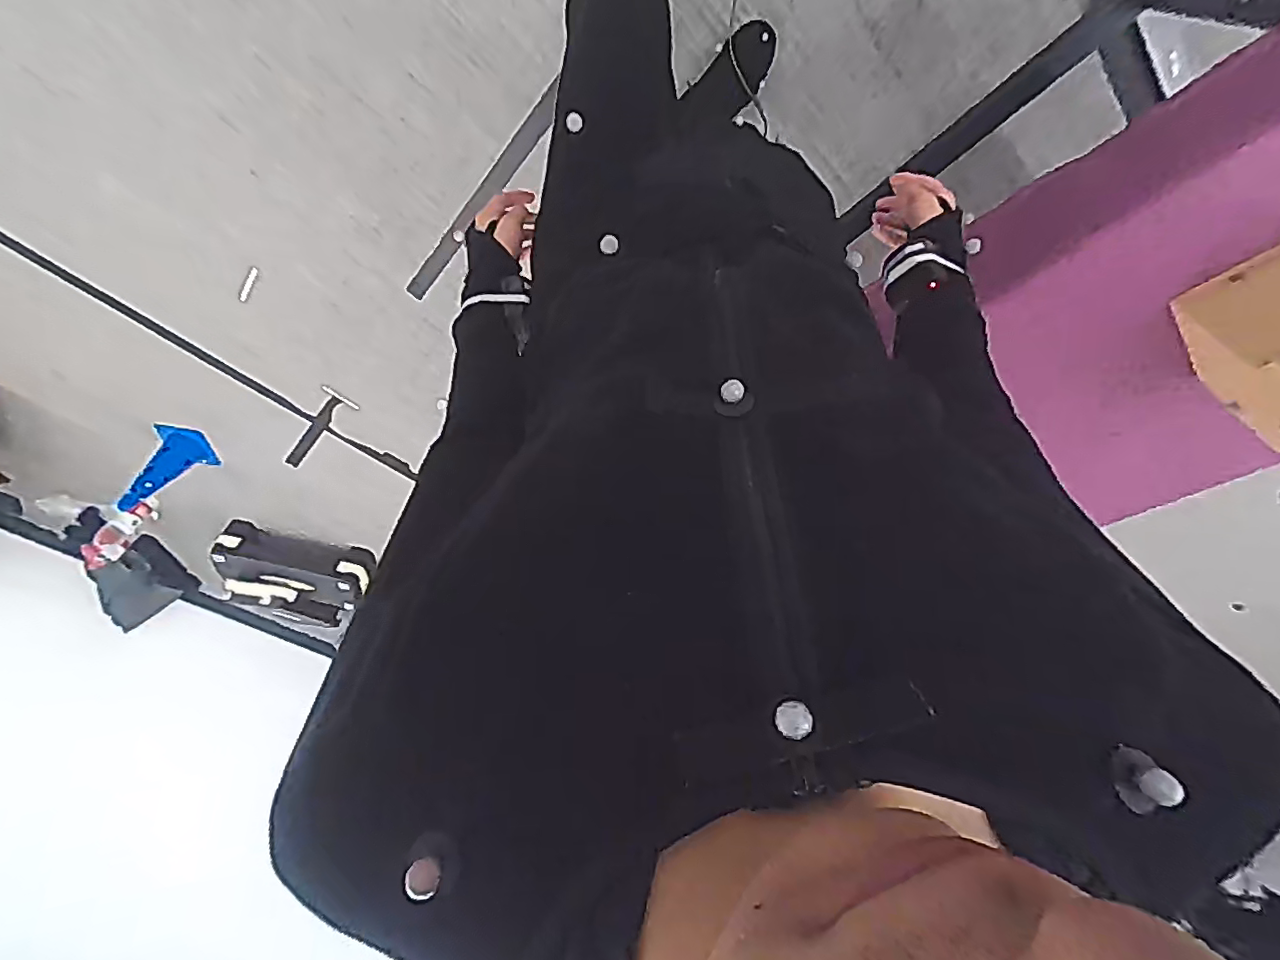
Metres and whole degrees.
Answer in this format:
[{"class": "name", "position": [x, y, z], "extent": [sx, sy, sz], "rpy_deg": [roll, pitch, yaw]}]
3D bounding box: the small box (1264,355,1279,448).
[{"class": "small box", "position": [0.821, -0.074, 0.558], "extent": [0.179, 0.176, 0.168], "rpy_deg": [-27, 126, 30]}]
